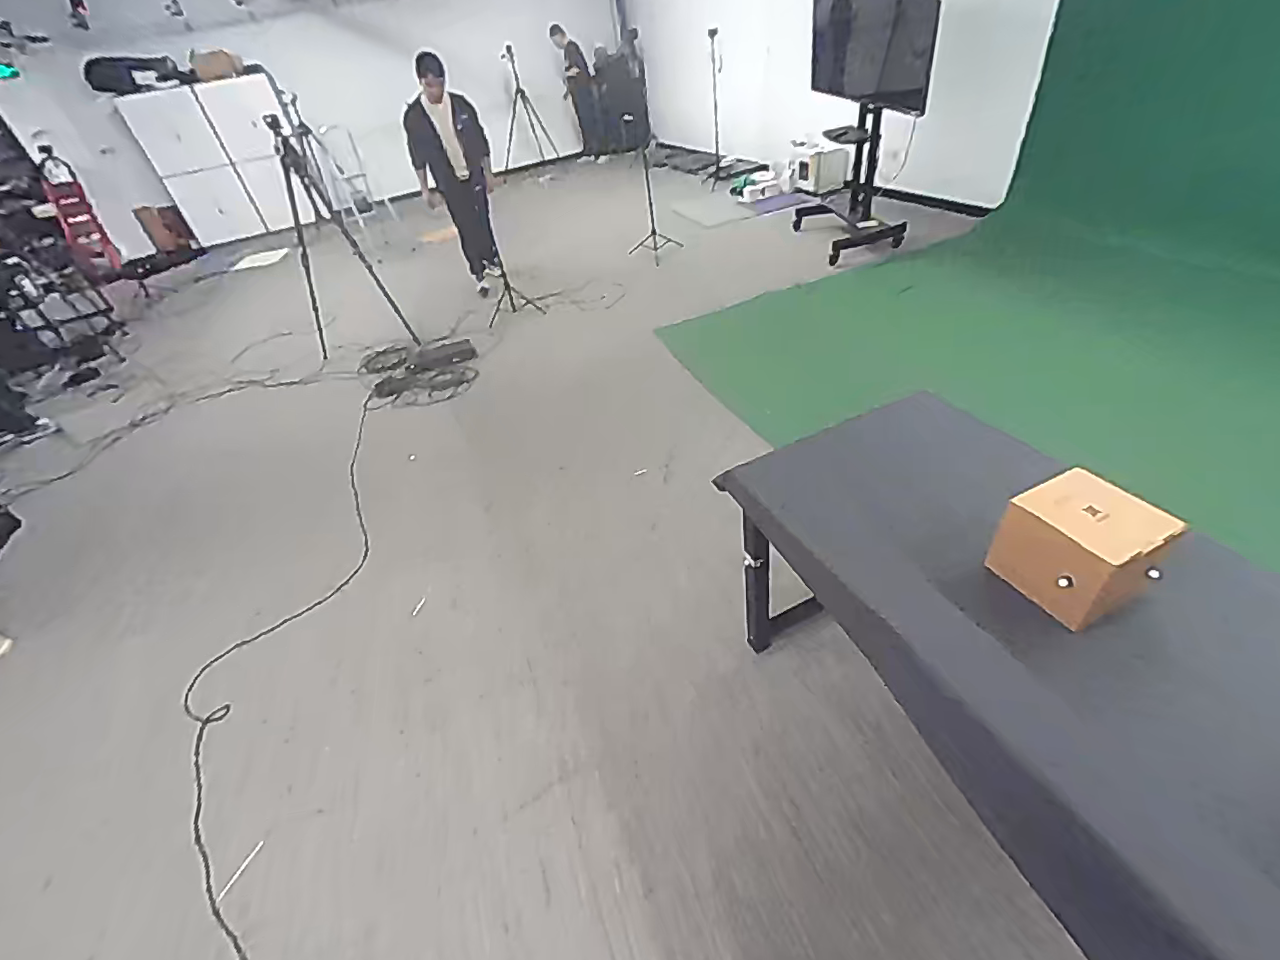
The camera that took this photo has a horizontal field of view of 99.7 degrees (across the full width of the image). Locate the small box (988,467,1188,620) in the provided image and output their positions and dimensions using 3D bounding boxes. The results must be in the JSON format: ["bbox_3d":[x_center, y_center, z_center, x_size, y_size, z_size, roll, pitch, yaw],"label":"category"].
[{"bbox_3d":[0.746,0.113,0.923,0.168,0.176,0.179,-21,40,-15],"label":"small box"}]
